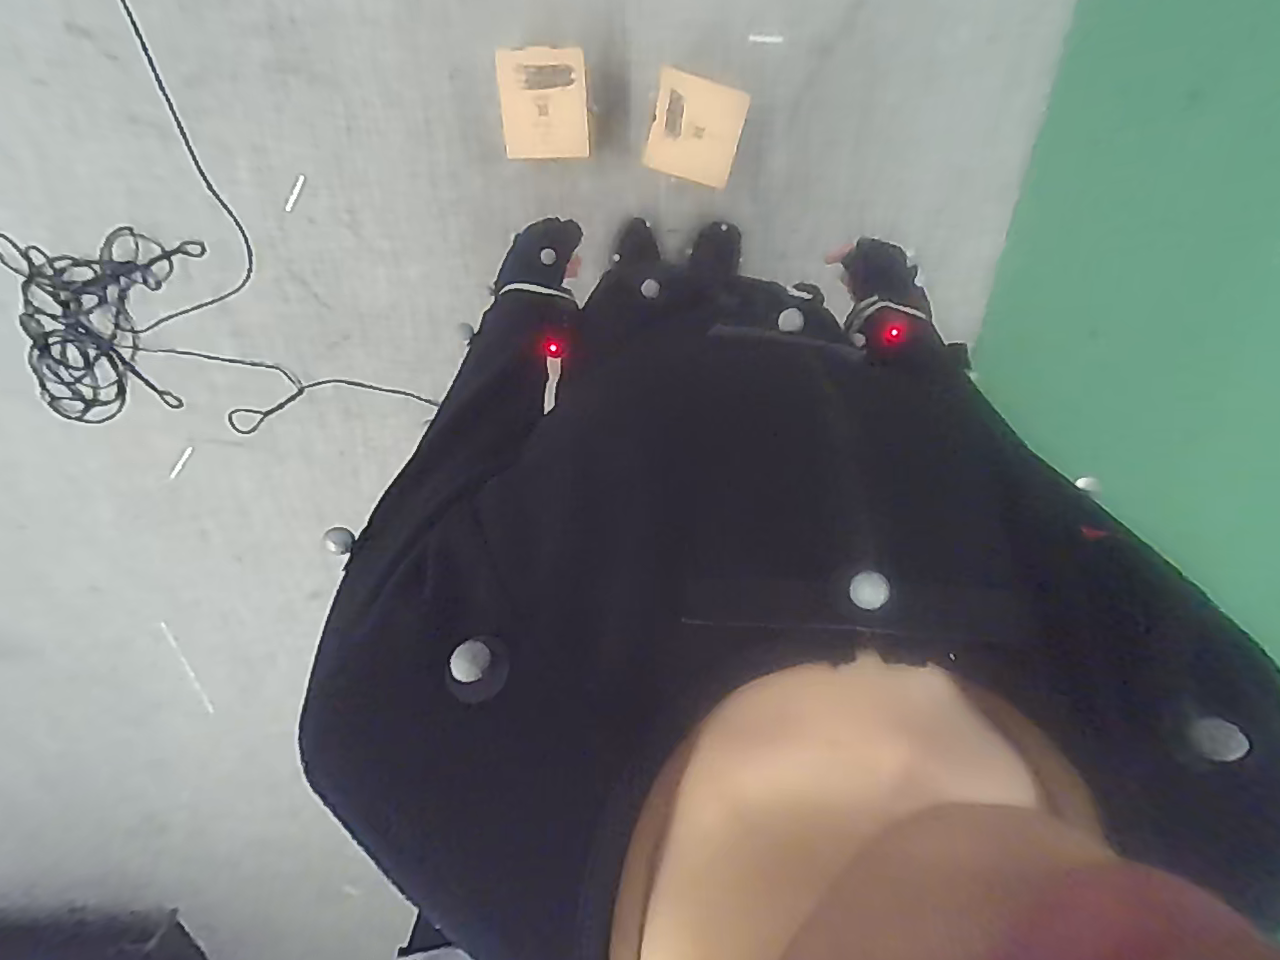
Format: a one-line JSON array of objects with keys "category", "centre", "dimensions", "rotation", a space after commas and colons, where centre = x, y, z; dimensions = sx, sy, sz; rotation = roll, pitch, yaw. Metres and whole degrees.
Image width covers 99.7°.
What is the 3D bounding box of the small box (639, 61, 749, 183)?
[{"category": "small box", "centre": [0.102, -0.722, 1.112], "dimensions": [0.179, 0.176, 0.168], "rotation": [13, 118, -8]}]
